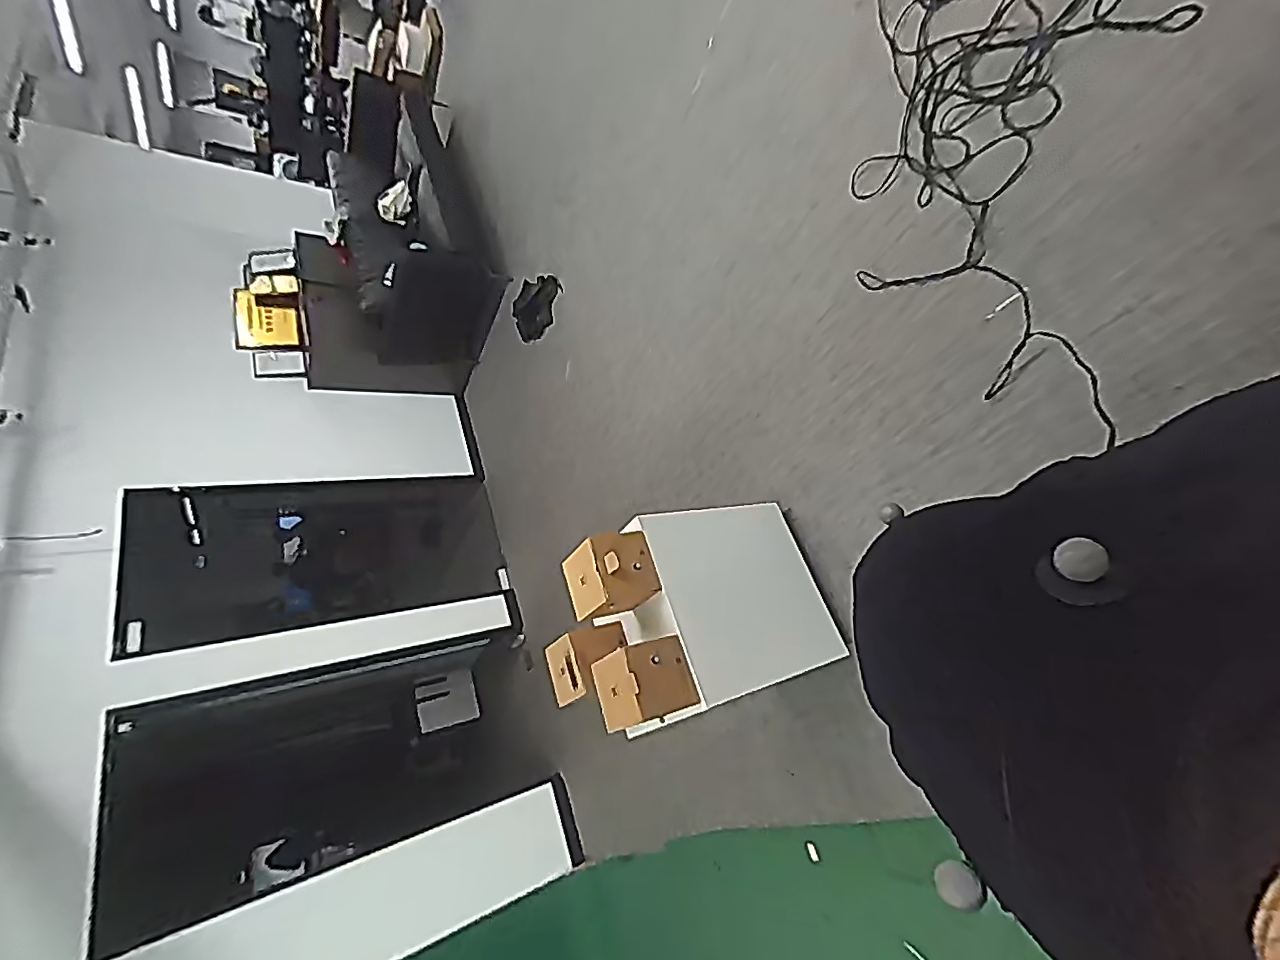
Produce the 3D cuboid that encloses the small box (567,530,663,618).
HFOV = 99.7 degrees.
[{"bbox_3d":[-0.066,0.243,1.403,0.179,0.176,0.168,-47,55,47],"label":"small box"}]

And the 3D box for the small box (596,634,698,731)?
[{"bbox_3d":[0.020,0.483,1.295,0.179,0.176,0.168,-48,53,48],"label":"small box"}]
